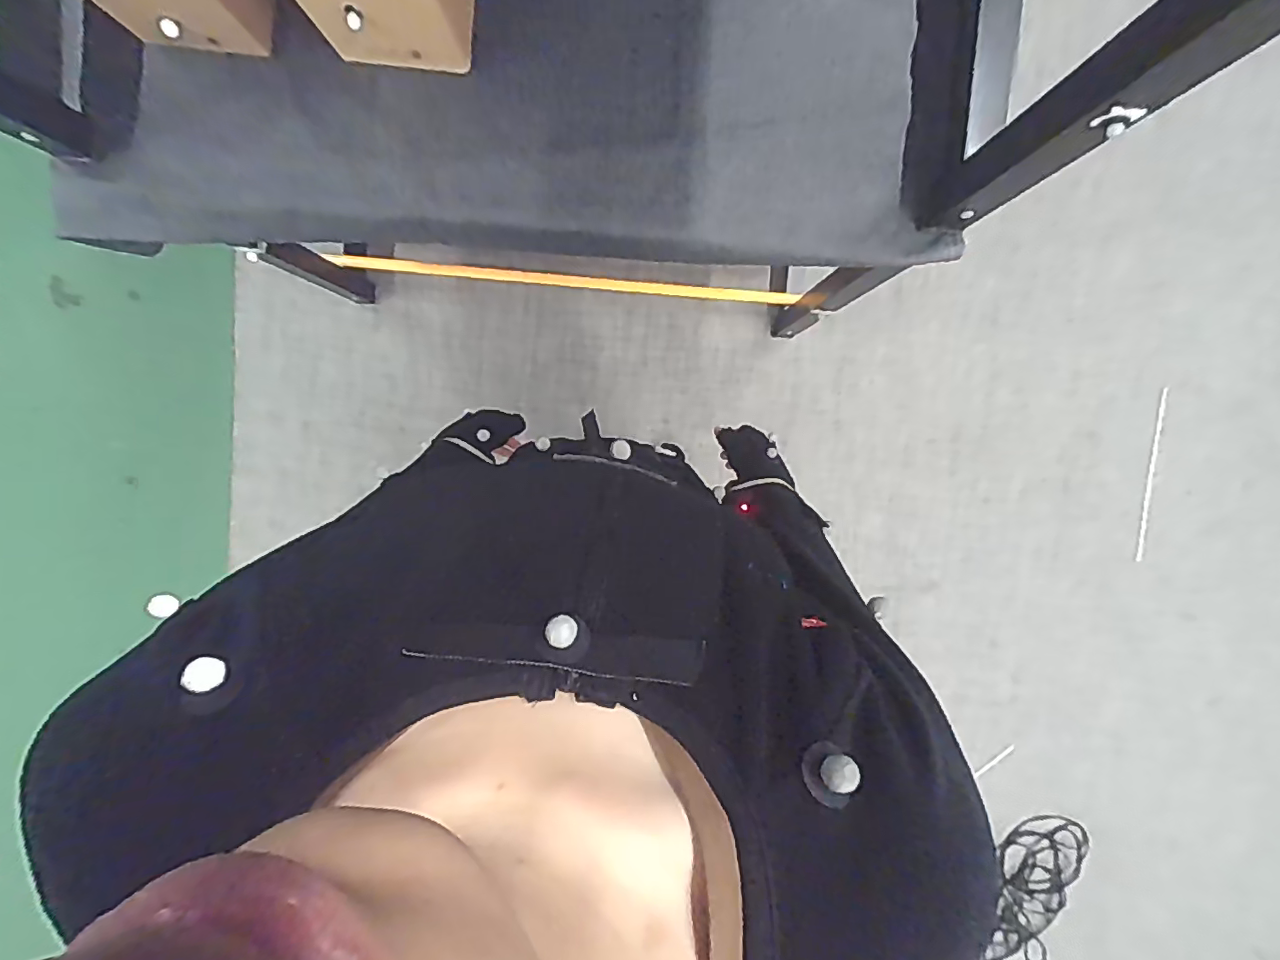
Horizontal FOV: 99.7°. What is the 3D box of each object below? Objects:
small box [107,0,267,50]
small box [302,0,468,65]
[{"bbox_3d":[-0.550,-0.639,0.604,0.168,0.176,0.179,6,96,-1],"label":"small box"},{"bbox_3d":[-0.298,-0.618,0.613,0.168,0.176,0.179,5,95,-2],"label":"small box"}]
